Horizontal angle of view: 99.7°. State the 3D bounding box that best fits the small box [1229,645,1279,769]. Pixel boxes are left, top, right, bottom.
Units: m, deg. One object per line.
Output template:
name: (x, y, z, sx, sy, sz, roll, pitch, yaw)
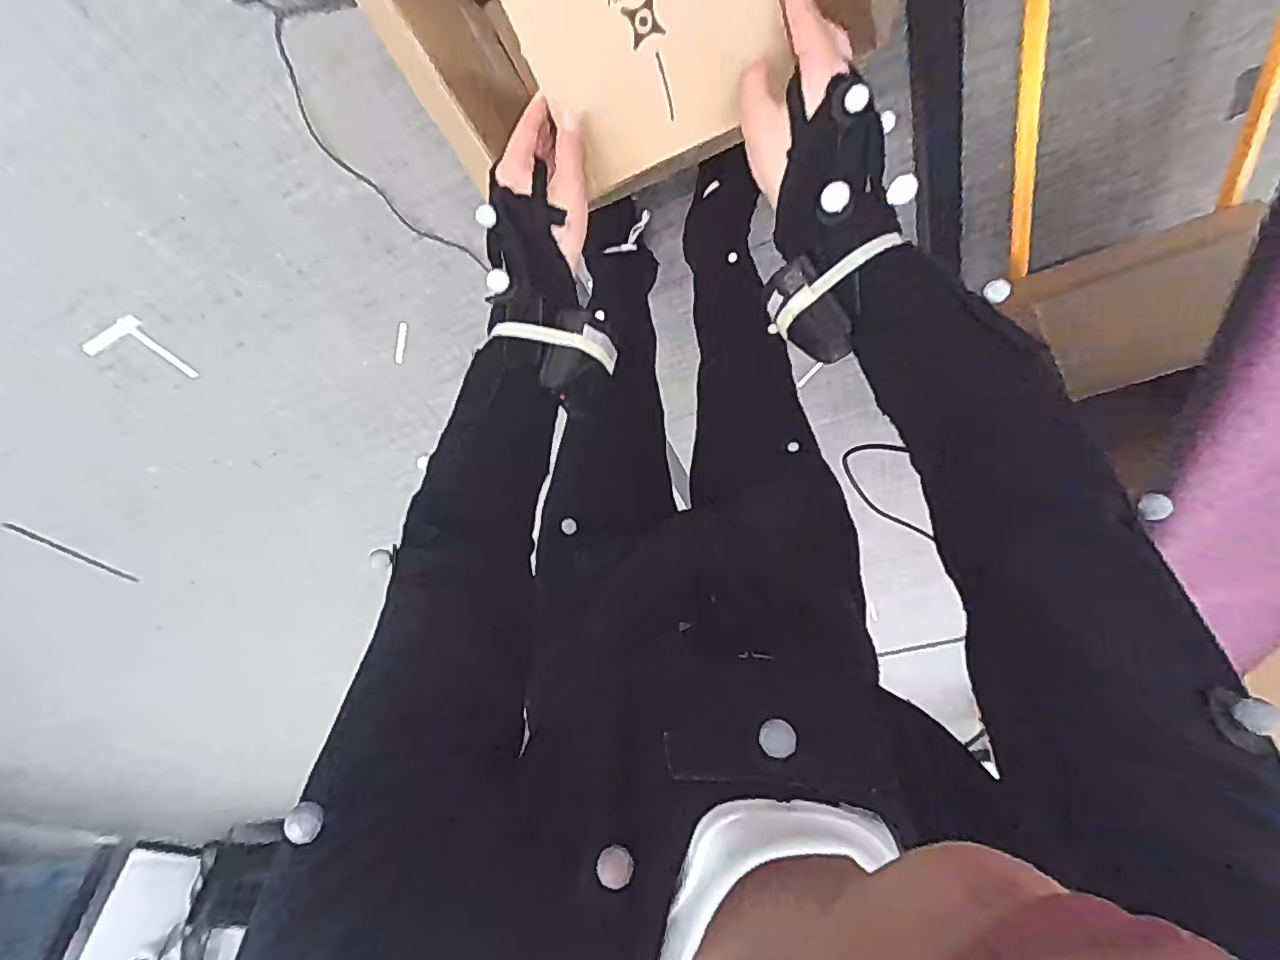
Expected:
small box: (0.837, 0.274, 0.601, 0.168, 0.176, 0.179, -15, 136, 12)
